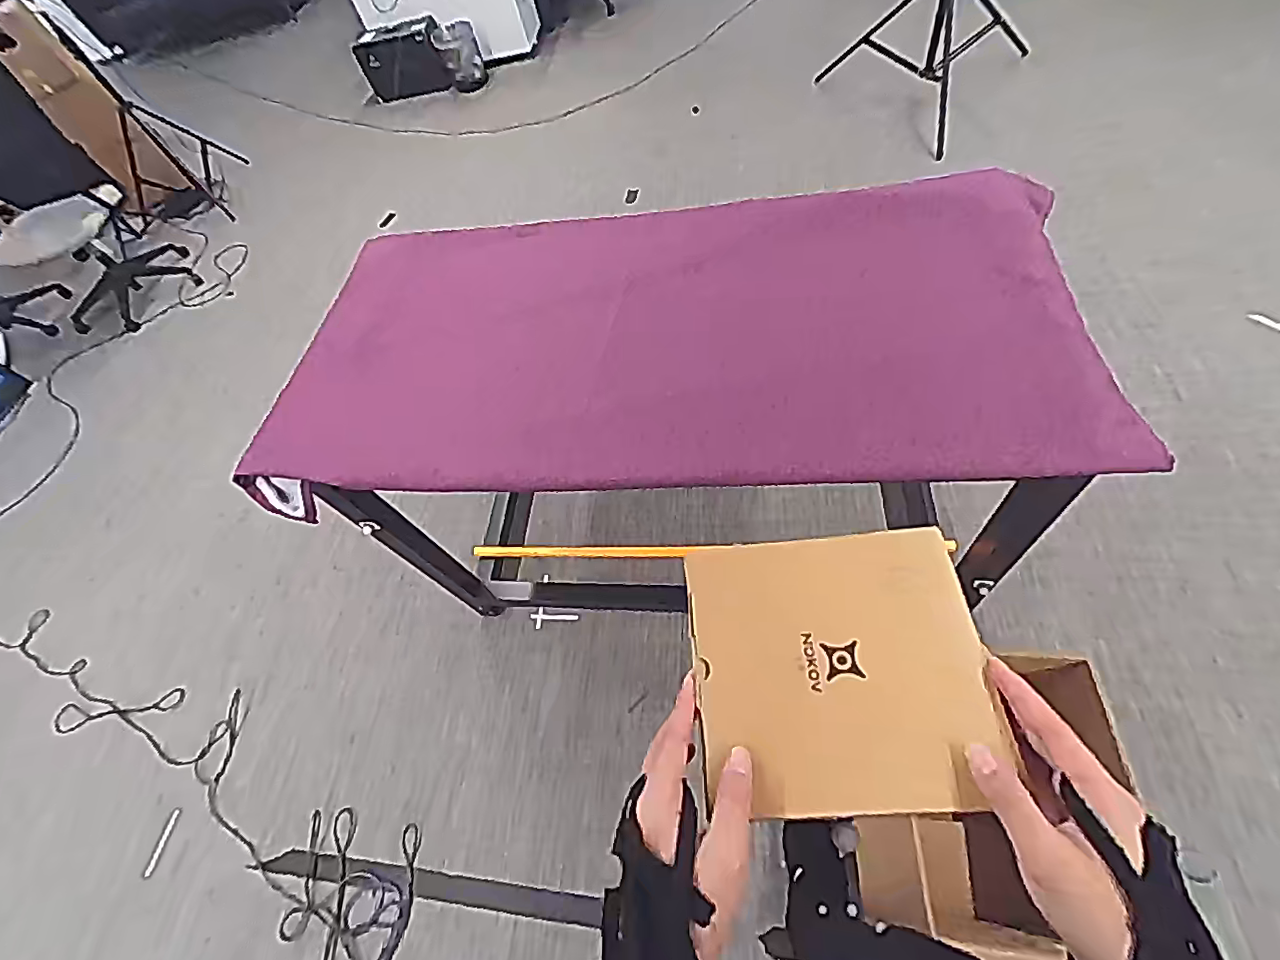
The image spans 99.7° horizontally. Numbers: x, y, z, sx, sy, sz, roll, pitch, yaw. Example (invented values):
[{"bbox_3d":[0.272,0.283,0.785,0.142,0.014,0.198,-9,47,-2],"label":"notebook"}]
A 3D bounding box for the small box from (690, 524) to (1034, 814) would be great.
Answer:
[{"bbox_3d":[0.135,0.148,0.404,0.179,0.176,0.168,-7,59,7],"label":"small box"}]
